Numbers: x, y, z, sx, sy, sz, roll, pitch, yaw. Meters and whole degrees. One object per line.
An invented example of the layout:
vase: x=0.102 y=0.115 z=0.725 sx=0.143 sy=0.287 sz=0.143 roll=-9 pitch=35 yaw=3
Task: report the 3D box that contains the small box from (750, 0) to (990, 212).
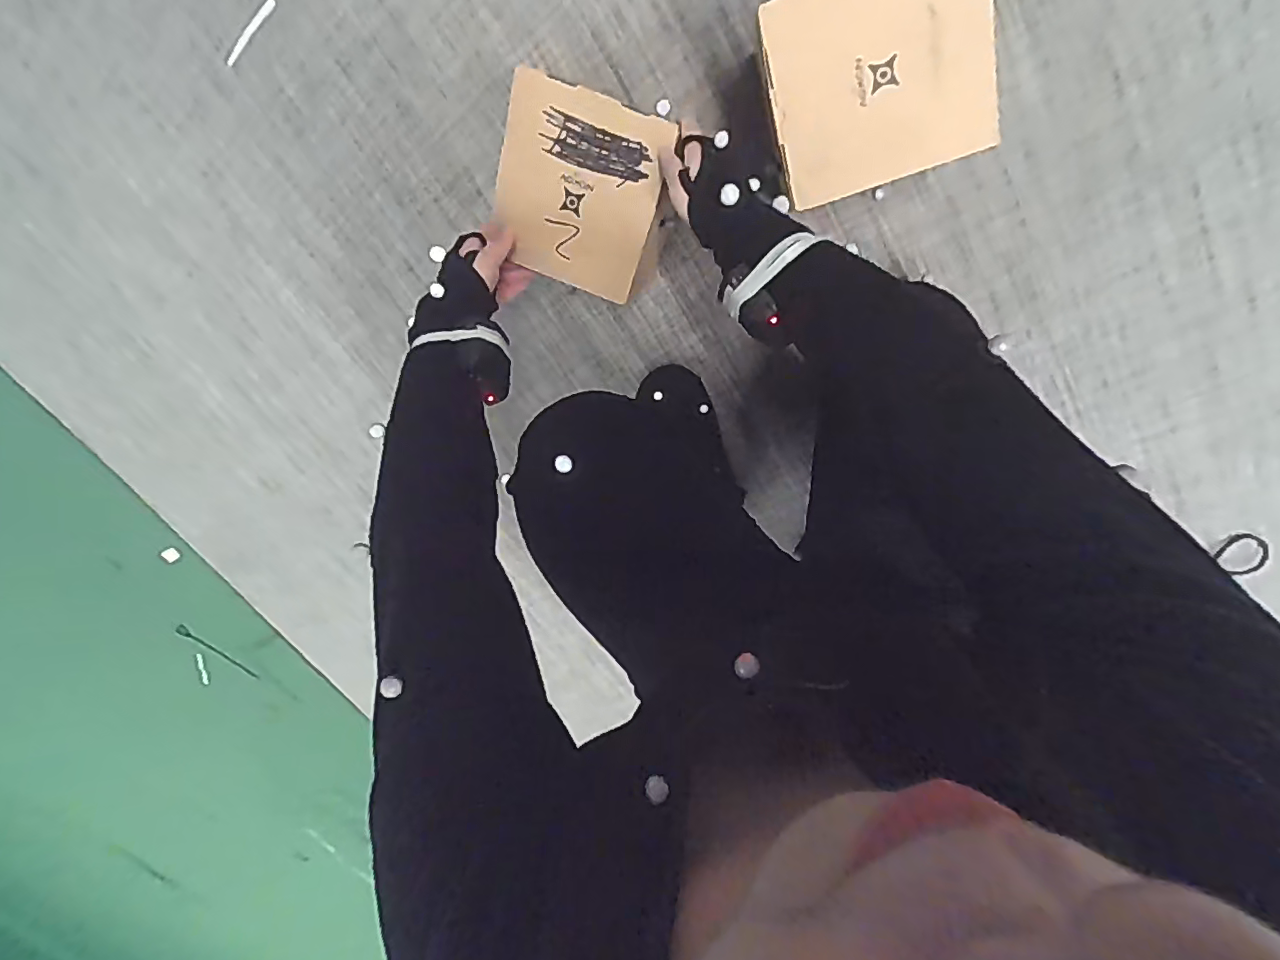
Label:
small box: x=0.212 y=-0.375 z=0.529 sx=0.179 sy=0.176 sz=0.168 roll=-12 pitch=114 yaw=17
